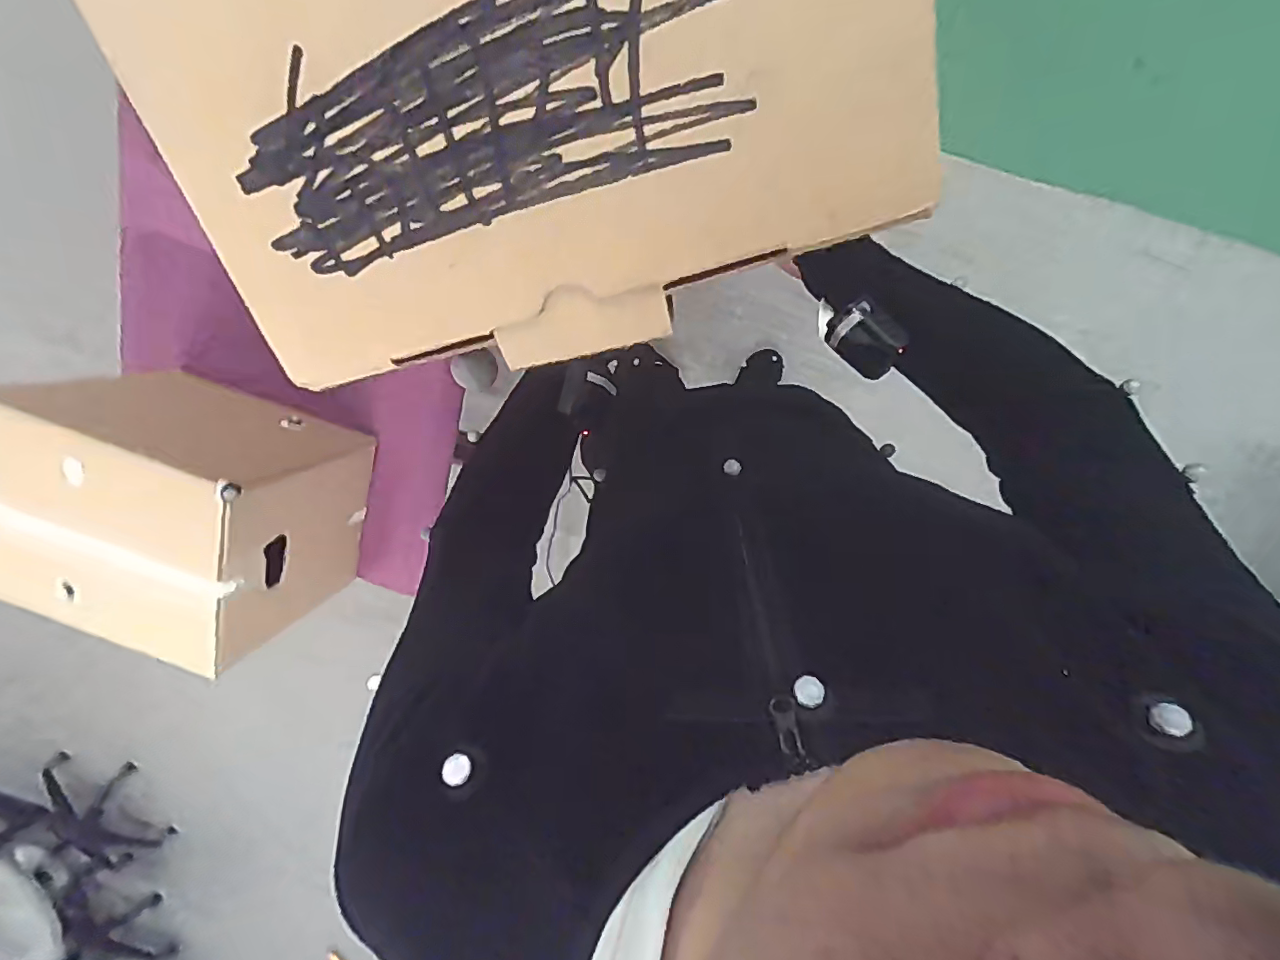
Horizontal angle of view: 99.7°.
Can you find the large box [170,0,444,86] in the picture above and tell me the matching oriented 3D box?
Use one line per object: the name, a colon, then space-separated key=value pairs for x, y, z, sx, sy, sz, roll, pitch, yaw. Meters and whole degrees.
large box: x=-0.456 y=-0.723 z=0.605 sx=0.408 sy=0.320 sz=0.320 roll=19 pitch=109 yaw=2
